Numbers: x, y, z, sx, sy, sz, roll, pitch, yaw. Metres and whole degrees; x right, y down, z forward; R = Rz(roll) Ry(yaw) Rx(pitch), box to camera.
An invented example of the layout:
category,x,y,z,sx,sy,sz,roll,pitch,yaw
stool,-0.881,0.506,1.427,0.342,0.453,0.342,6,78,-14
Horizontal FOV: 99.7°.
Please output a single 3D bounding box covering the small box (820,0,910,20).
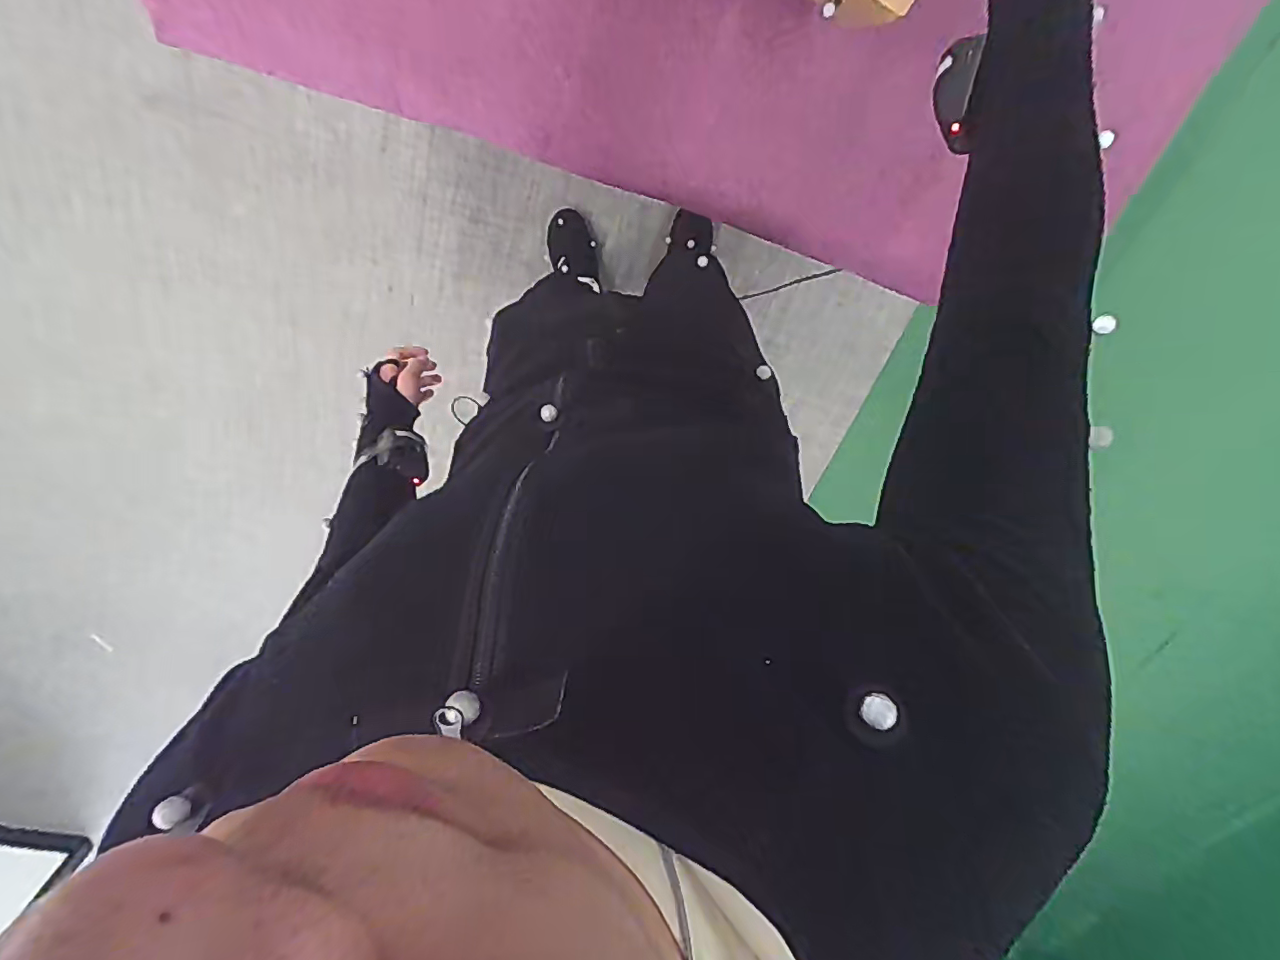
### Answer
category,x,y,z,sx,sy,sz,roll,pitch,yaw
small box,0.187,-0.539,0.463,0.179,0.176,0.168,22,127,-14
